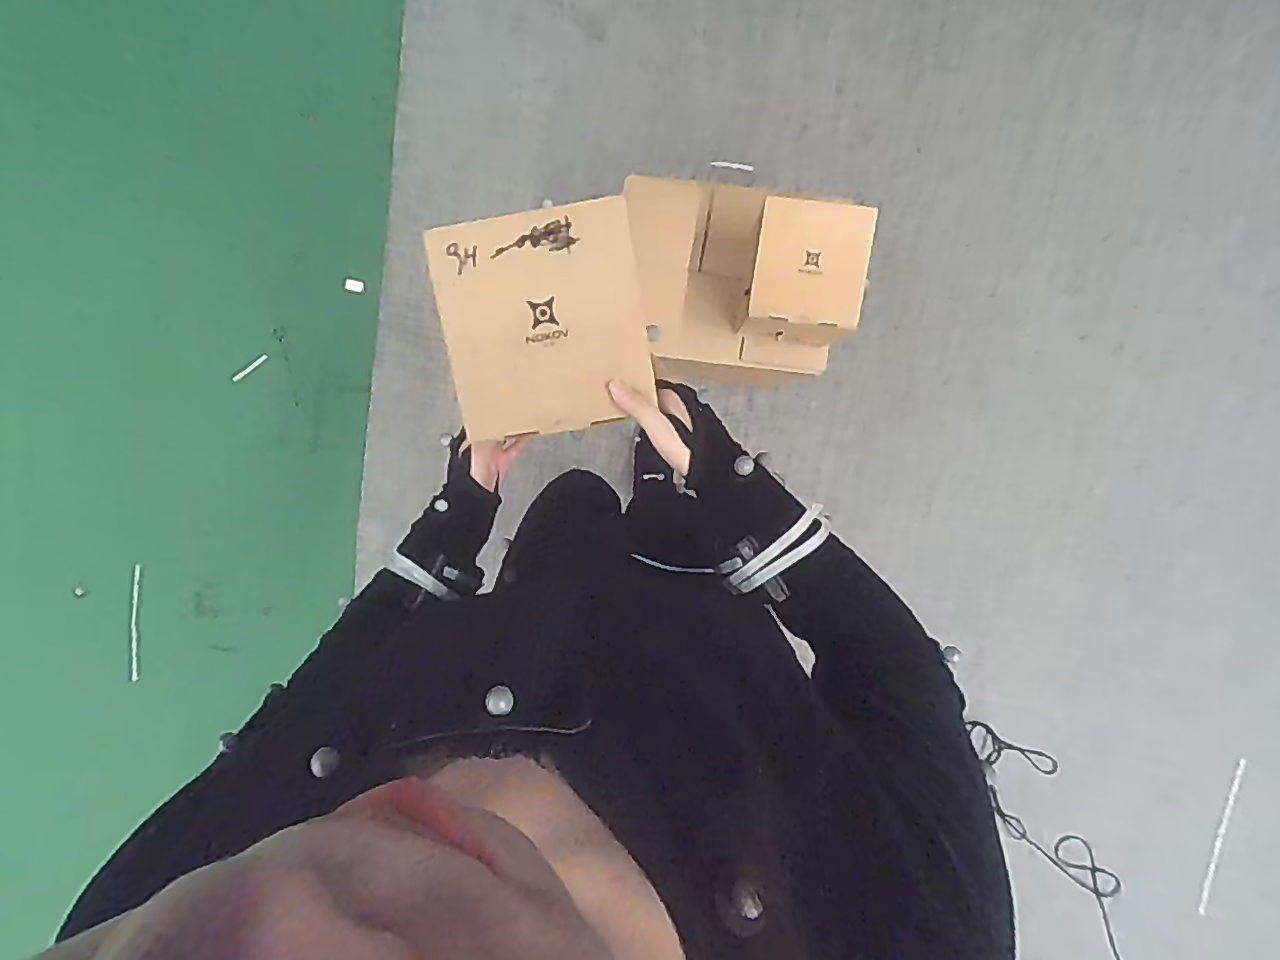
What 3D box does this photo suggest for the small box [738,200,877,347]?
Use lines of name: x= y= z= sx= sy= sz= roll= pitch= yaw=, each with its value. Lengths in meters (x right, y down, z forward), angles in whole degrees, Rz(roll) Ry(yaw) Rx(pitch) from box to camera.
small box: x=0.258 y=-0.323 z=0.876 sx=0.168 sy=0.176 sz=0.179 roll=8 pitch=97 yaw=3

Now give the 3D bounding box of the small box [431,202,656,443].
small box: x=-0.075 y=-0.141 z=0.524 sx=0.168 sy=0.176 sz=0.179 roll=-8 pitch=100 yaw=2
